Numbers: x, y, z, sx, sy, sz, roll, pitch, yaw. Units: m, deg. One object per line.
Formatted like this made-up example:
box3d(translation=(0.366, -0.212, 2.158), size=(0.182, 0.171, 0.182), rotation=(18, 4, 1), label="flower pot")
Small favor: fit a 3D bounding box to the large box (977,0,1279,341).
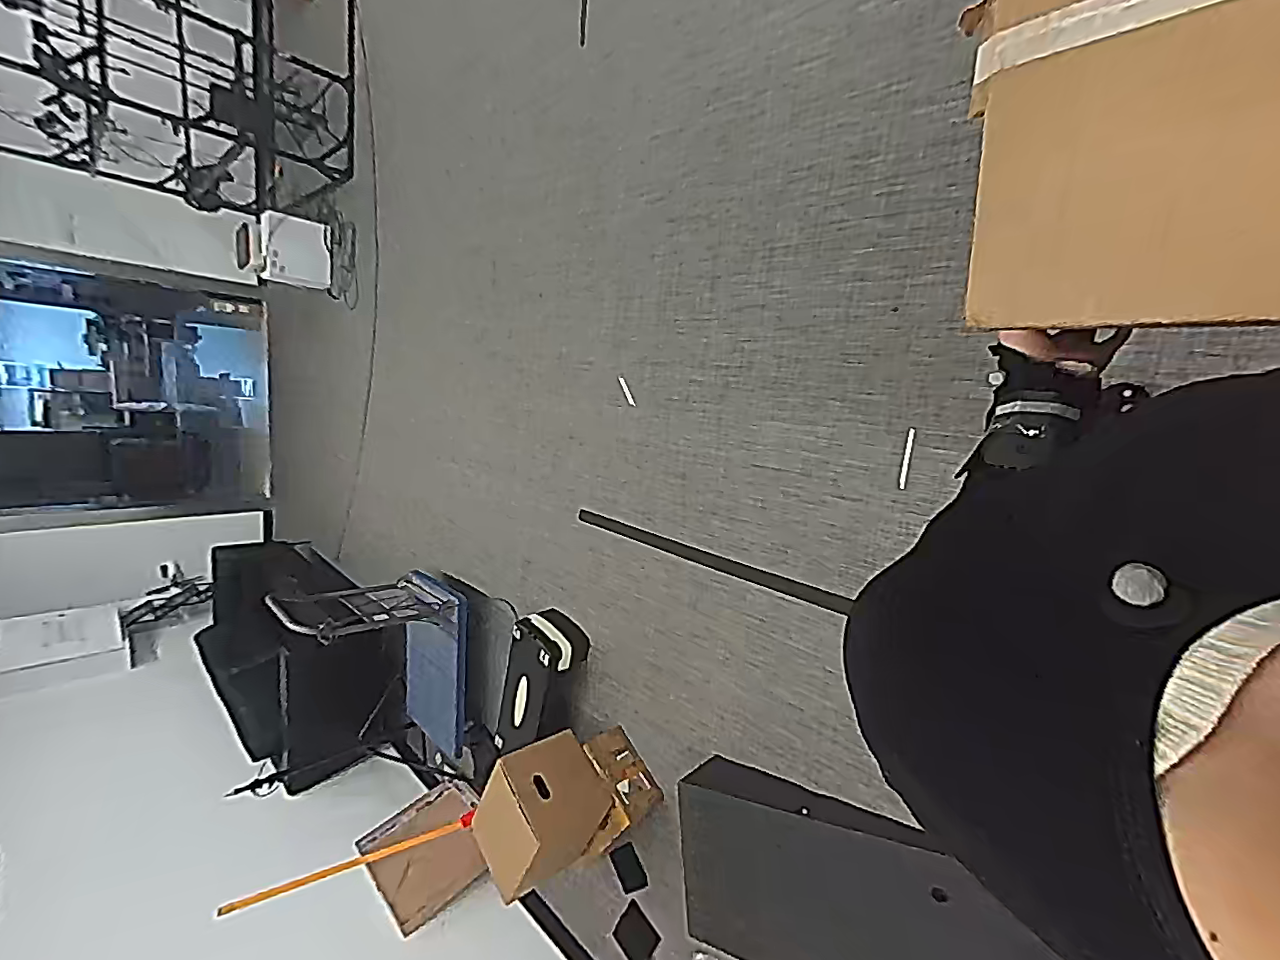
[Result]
box3d(translation=(0.459, -0.245, 0.291), size=(0.408, 0.320, 0.320), rotation=(12, 110, 43), label="large box")
